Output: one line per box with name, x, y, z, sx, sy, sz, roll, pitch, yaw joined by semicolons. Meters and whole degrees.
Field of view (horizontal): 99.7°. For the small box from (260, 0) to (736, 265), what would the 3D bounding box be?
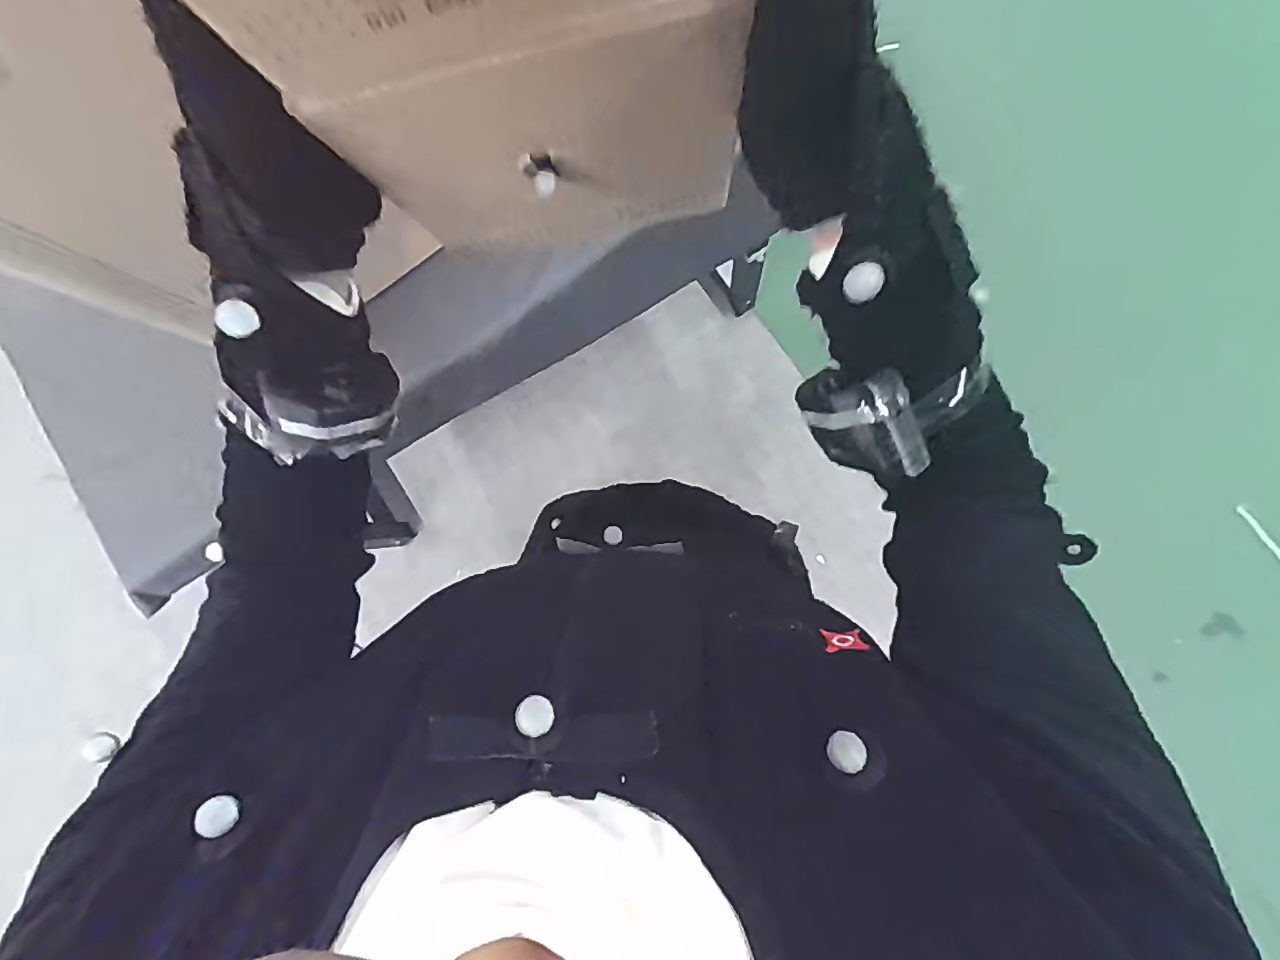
small box;-0.058;-0.228;0.271;0.179;0.176;0.168;-9;91;5
